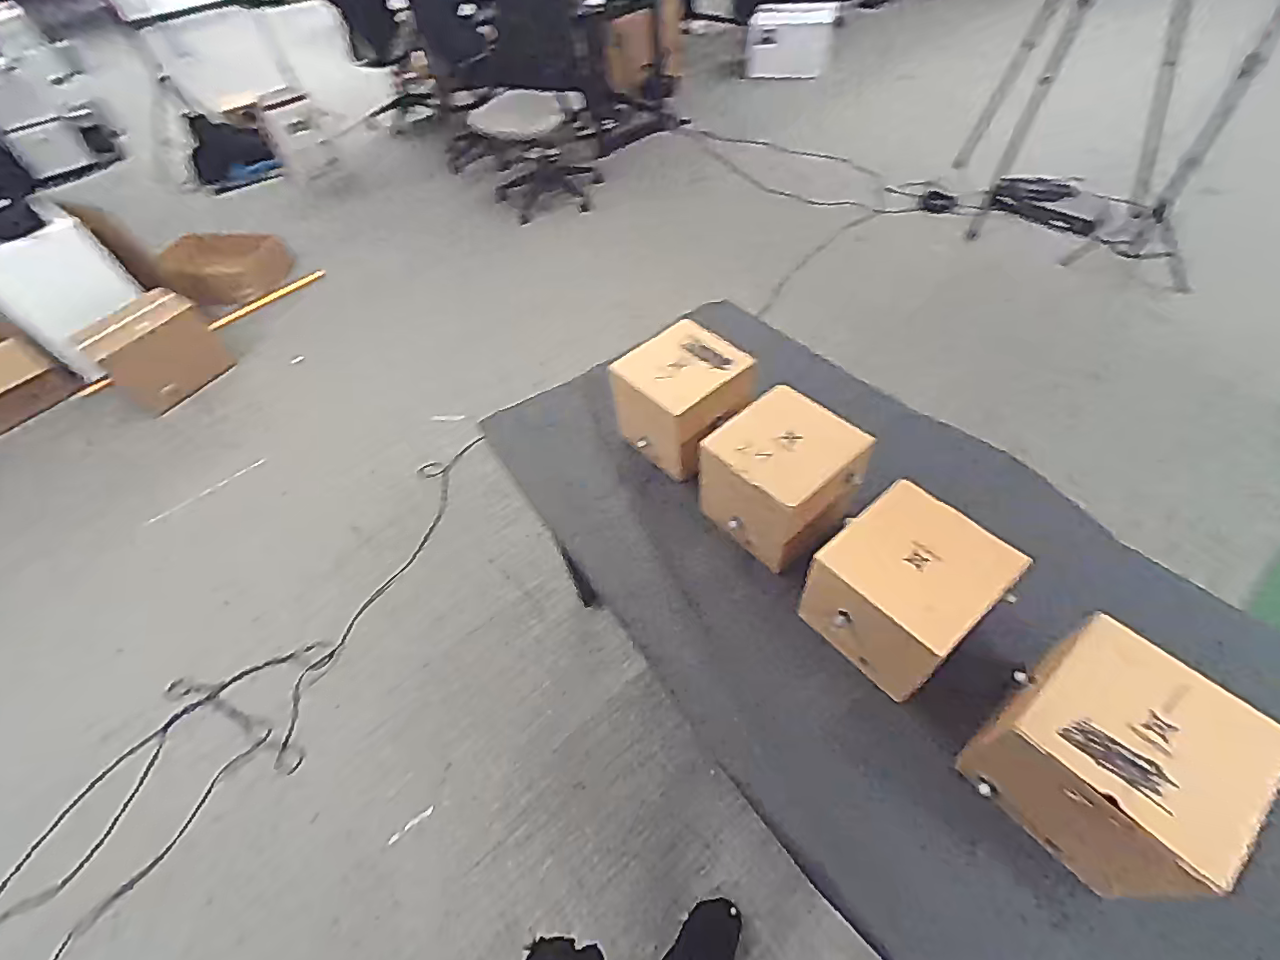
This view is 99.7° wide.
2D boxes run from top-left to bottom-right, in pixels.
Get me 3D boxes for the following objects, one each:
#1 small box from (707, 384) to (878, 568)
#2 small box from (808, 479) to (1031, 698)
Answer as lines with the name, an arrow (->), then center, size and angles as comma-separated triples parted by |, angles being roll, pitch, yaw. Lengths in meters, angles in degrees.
small box -> 0.213, -0.005, 0.805 | 0.179, 0.176, 0.168 | -36, 56, -20
small box -> 0.331, 0.139, 0.679 | 0.179, 0.176, 0.168 | -35, 56, -20
